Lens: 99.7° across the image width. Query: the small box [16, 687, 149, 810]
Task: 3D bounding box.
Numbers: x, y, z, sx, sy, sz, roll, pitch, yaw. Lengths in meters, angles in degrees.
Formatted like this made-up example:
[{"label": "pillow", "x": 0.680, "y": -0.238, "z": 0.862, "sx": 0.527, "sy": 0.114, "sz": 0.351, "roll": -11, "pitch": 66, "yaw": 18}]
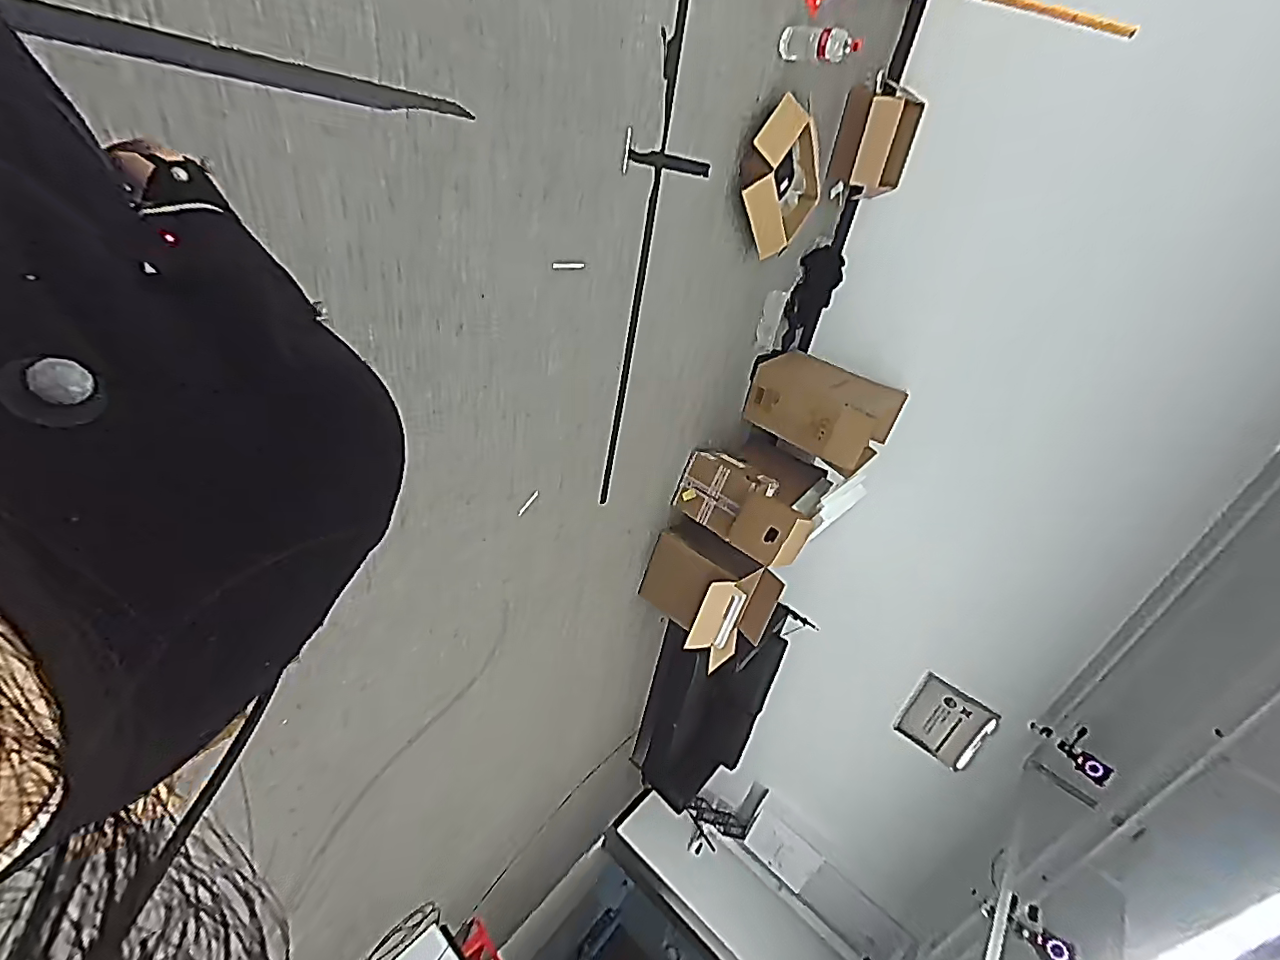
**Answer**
[{"label": "small box", "x": -1.359, "y": 0.649, "z": 1.323, "sx": 0.168, "sy": 0.176, "sz": 0.179, "roll": -31, "pitch": 141, "yaw": -41}]
